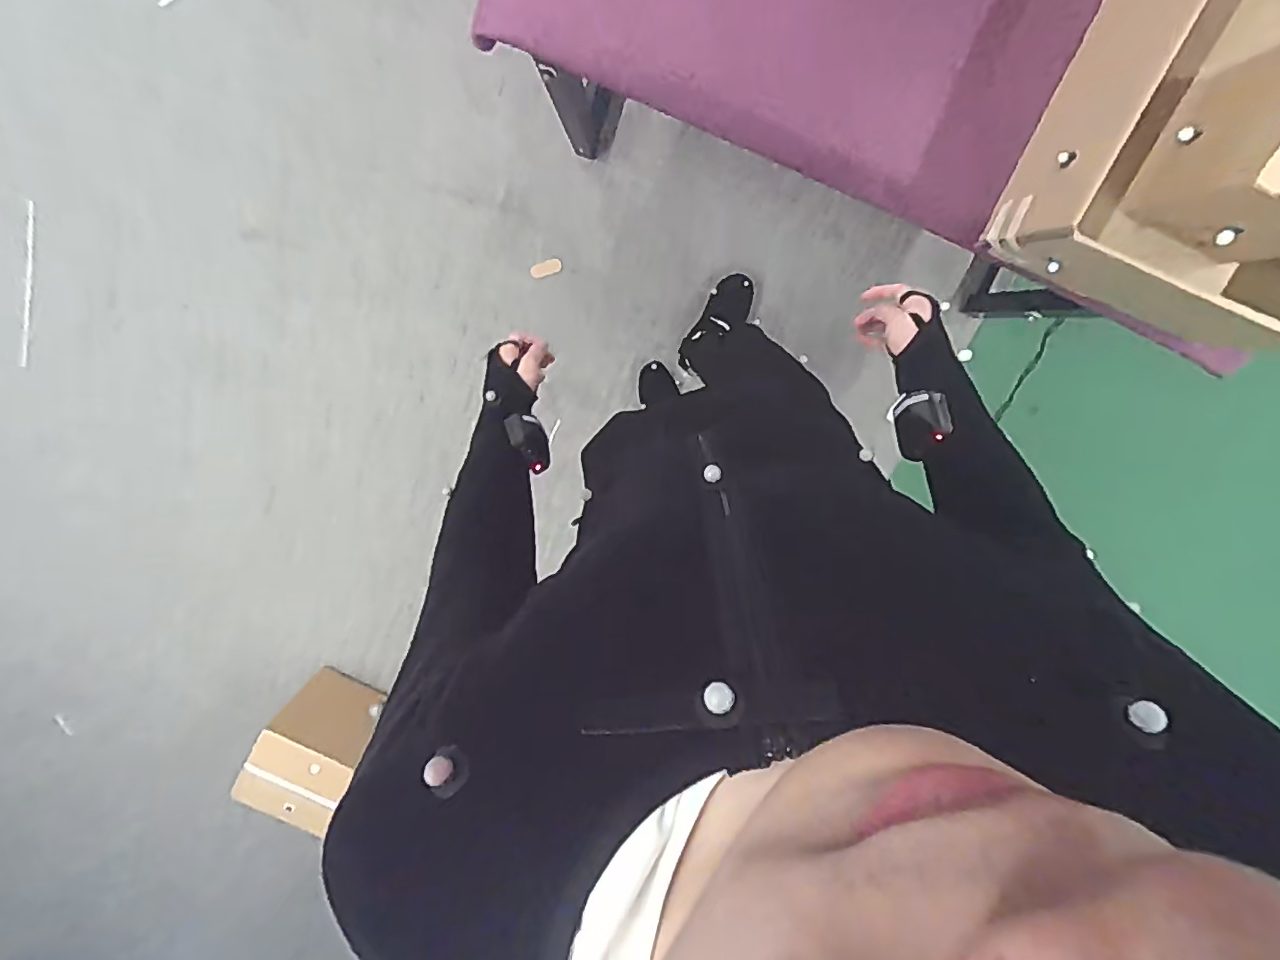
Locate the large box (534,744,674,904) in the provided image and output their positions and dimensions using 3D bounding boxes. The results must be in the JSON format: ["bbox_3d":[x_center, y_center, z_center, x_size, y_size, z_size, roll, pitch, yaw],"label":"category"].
[{"bbox_3d":[-0.113,1.171,1.863,0.408,0.320,0.320,-10,107,3],"label":"large box"}]
